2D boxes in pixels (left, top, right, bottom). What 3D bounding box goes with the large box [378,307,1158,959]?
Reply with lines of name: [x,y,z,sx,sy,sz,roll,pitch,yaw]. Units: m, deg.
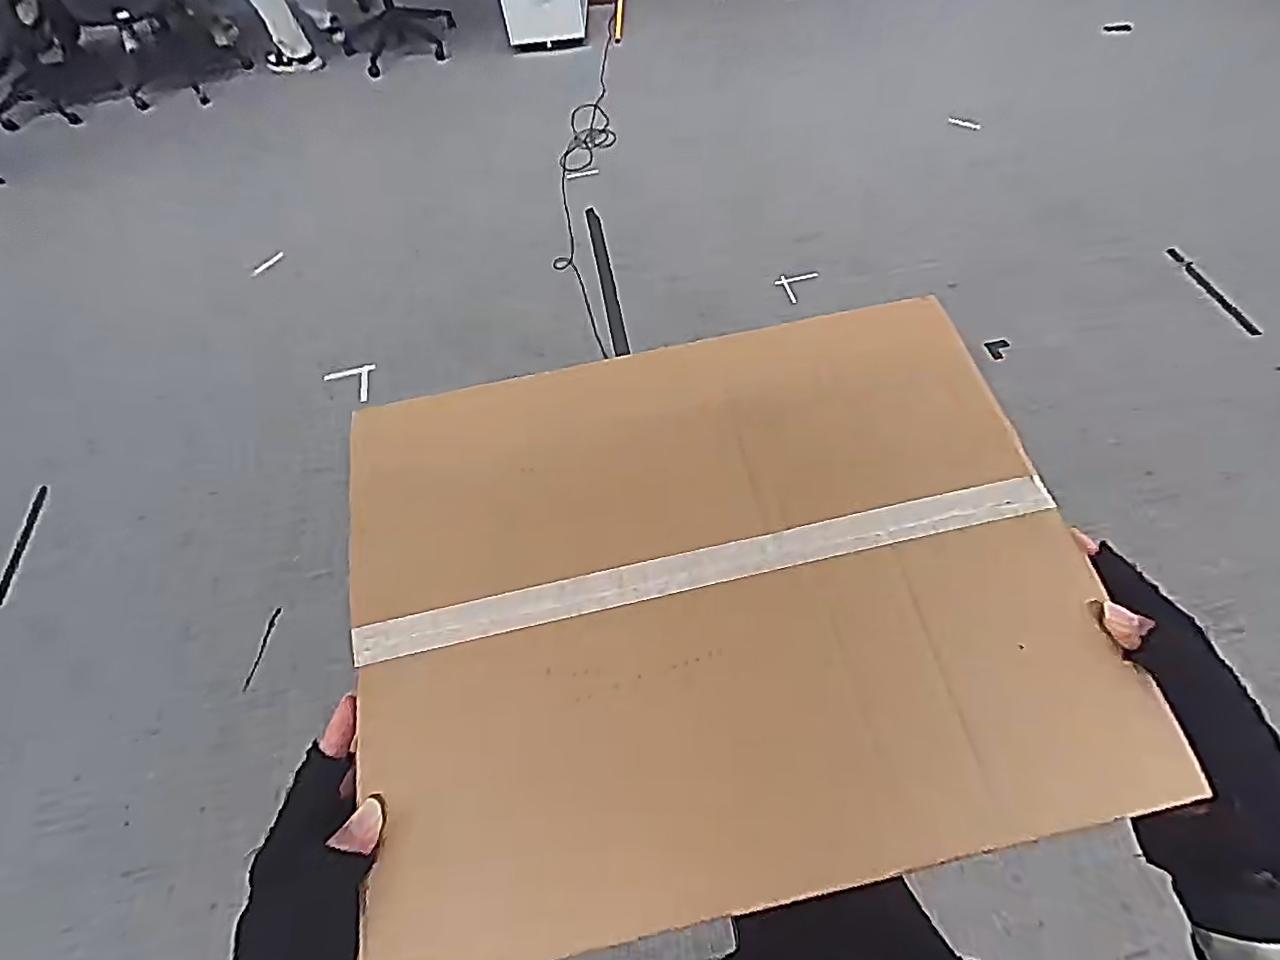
large box: [0.049,0.112,0.462,0.408,0.320,0.320,-13,67,-3]
